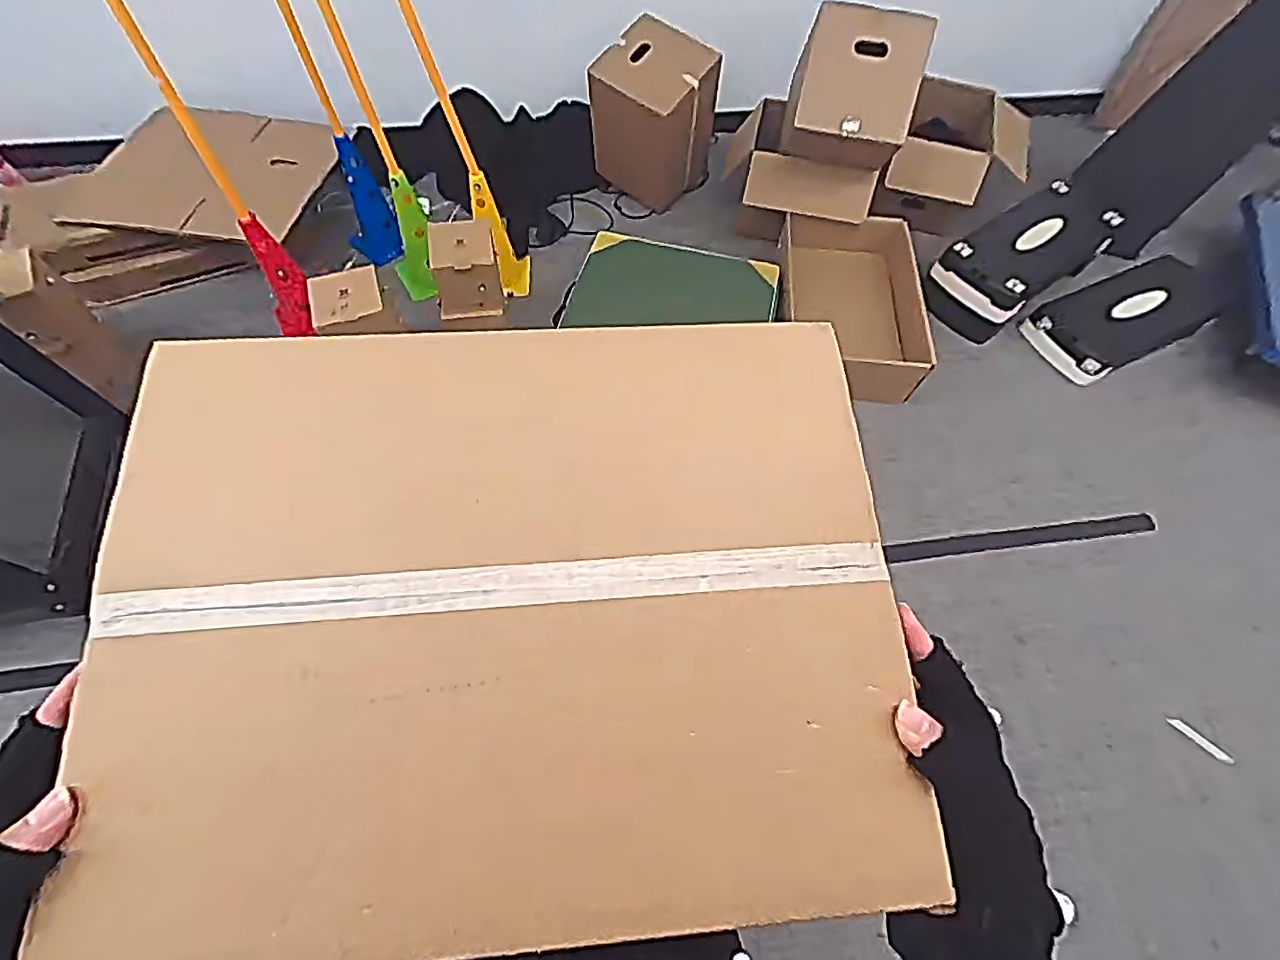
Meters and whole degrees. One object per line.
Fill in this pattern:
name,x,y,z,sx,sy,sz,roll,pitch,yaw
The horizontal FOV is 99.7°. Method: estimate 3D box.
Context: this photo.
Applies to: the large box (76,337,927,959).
large box,-0.074,0.108,0.440,0.408,0.320,0.320,-3,72,-4
